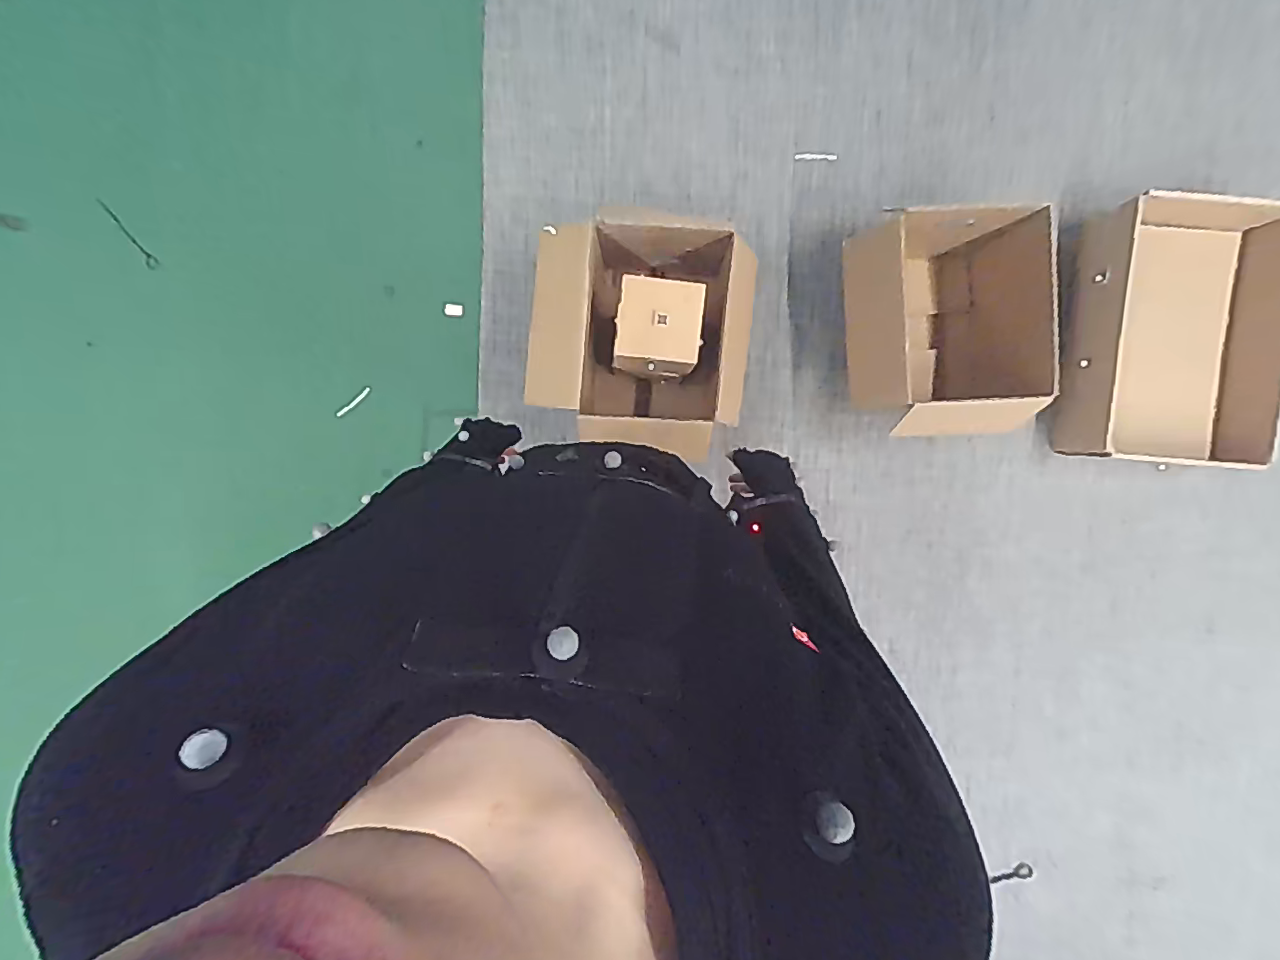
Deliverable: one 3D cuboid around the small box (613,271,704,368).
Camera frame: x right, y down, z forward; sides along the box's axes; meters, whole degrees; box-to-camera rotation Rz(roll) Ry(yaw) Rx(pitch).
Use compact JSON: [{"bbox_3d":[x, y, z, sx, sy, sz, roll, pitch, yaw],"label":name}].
[{"bbox_3d":[0.036,-0.345,1.193,0.179,0.176,0.168,6,93,-1],"label":"small box"}]
